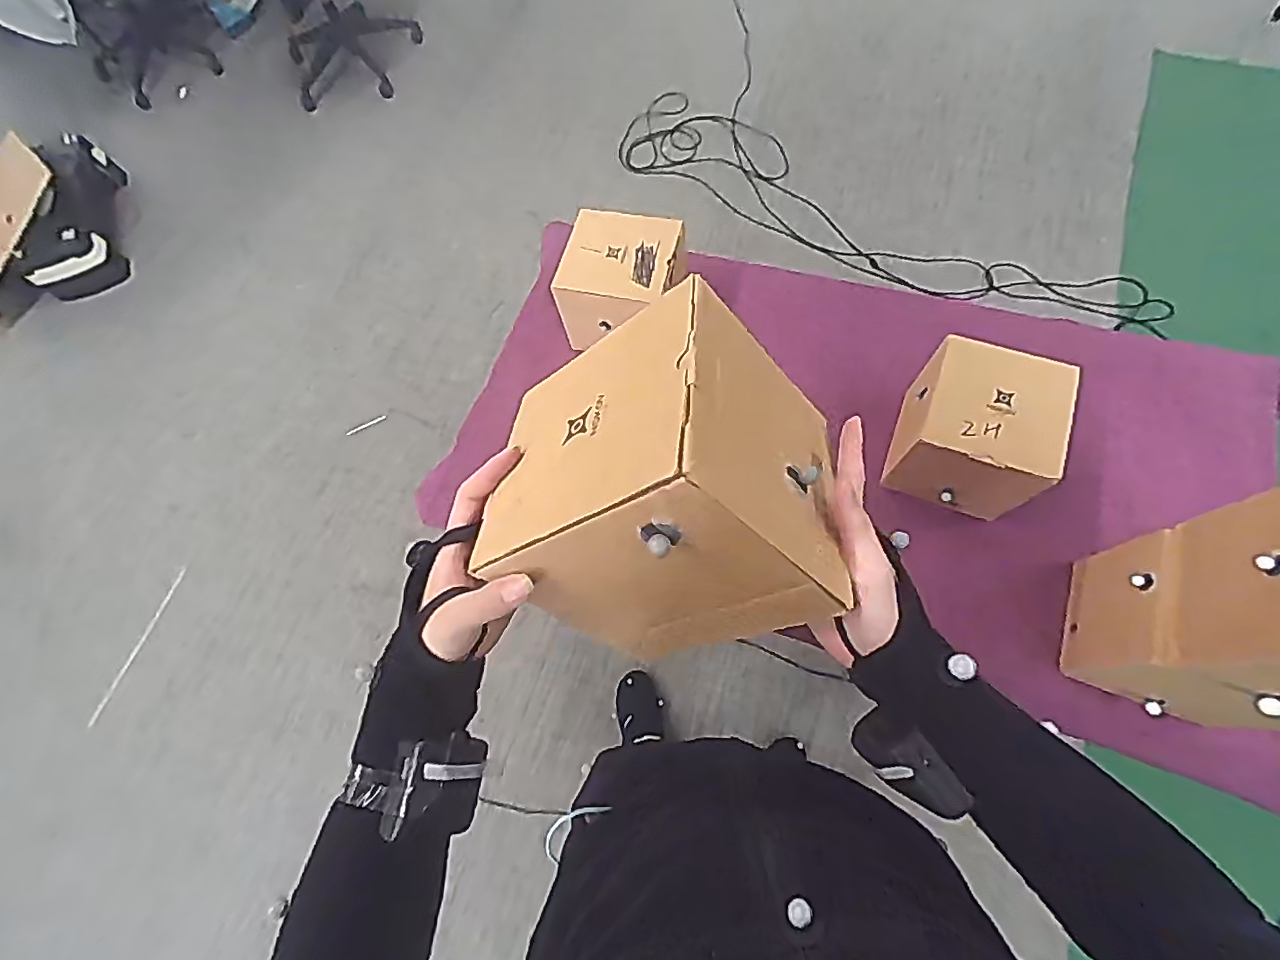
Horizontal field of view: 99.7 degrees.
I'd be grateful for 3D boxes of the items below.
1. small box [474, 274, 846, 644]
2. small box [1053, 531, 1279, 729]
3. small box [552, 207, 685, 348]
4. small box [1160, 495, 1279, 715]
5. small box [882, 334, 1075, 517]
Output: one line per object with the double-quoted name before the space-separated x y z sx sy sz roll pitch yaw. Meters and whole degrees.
"small box" 0.020 0.003 0.386 0.179 0.176 0.168 -25 42 35
"small box" 0.657 0.184 0.657 0.179 0.176 0.168 20 71 13
"small box" -0.025 -0.325 0.918 0.179 0.176 0.168 13 71 11
"small box" 0.645 0.122 0.506 0.168 0.176 0.179 19 72 14
"small box" 0.470 -0.071 0.774 0.168 0.176 0.179 20 73 13
